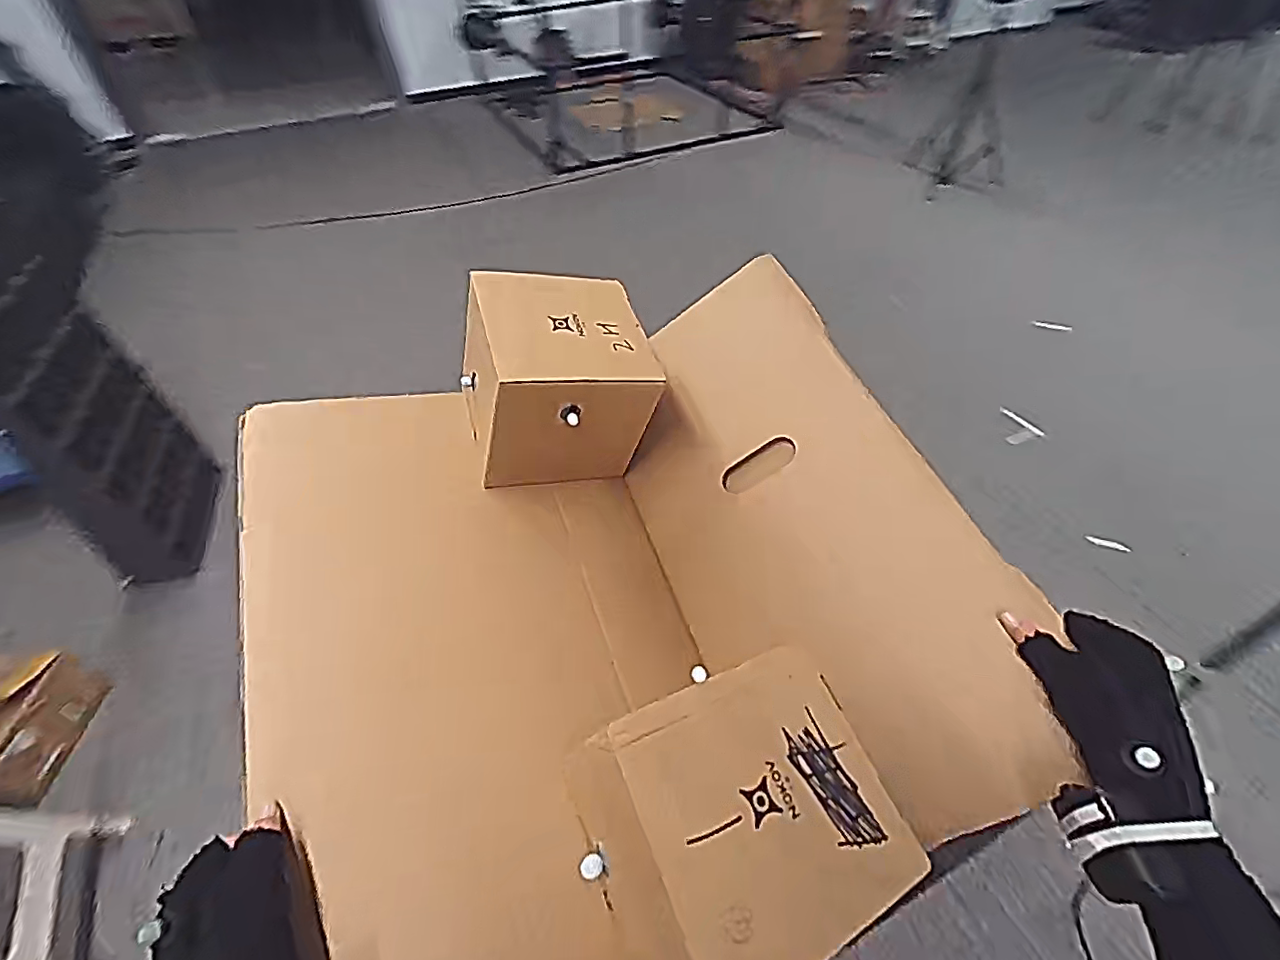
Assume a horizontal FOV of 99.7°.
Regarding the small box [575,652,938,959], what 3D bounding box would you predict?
[{"bbox_3d":[0.068,0.257,0.413,0.179,0.176,0.168,-11,60,-27],"label":"small box"}]
